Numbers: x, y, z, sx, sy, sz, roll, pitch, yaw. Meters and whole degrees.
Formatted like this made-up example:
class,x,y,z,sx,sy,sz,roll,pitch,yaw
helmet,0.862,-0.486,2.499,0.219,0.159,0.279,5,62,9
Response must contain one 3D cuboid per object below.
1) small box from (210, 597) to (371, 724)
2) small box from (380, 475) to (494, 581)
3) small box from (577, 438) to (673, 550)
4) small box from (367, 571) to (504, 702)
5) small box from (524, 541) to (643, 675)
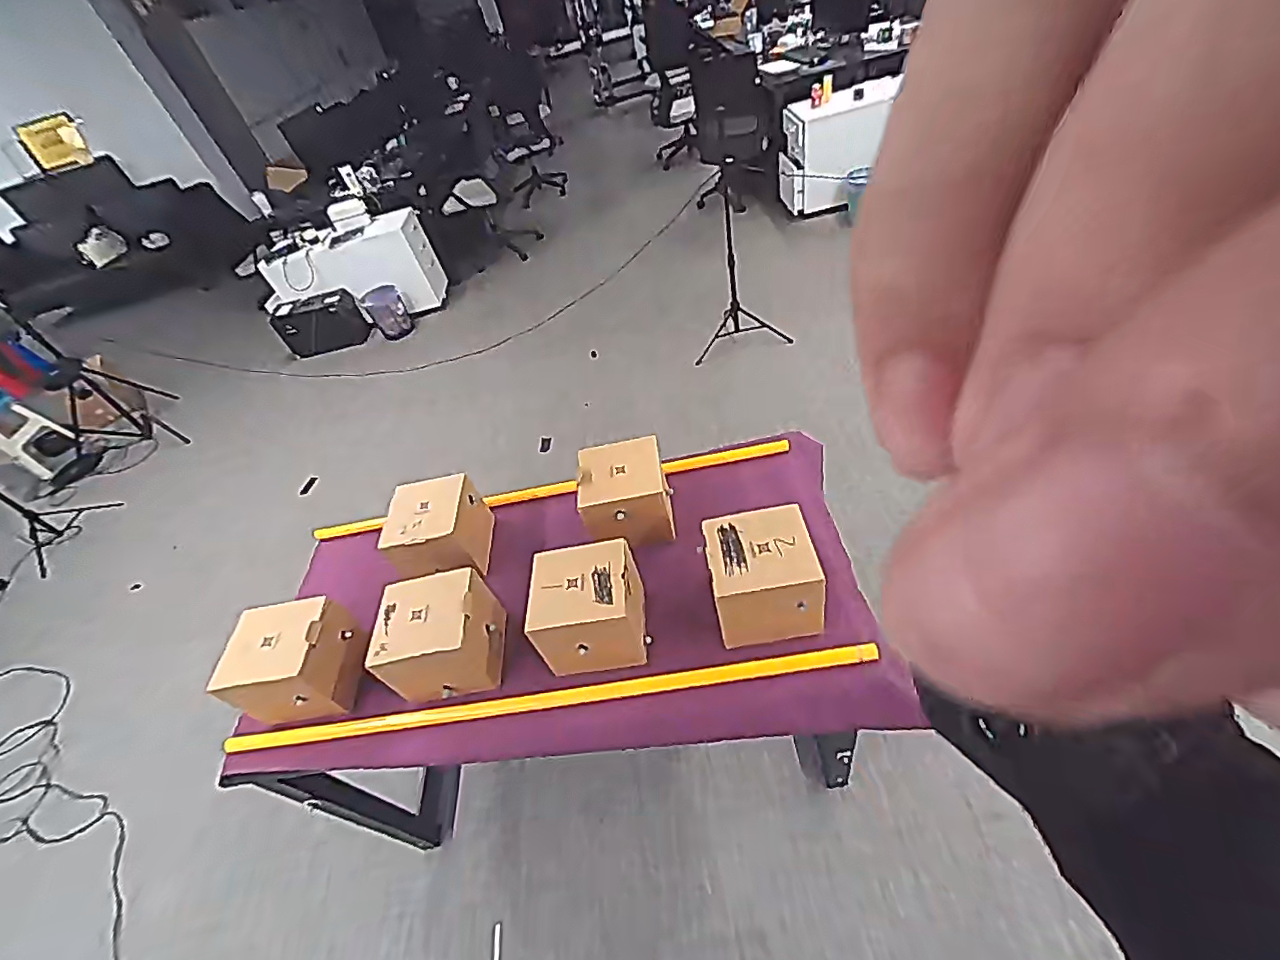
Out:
class,x,y,z,sx,sy,sz,roll,pitch,yaw
small box,-0.658,0.353,1.048,0.179,0.176,0.168,-10,45,4
small box,-0.441,0.119,1.210,0.168,0.176,0.179,-11,47,6
small box,-0.028,0.037,1.167,0.179,0.176,0.168,-12,46,7
small box,-0.370,0.297,1.018,0.179,0.176,0.168,-12,45,5
small box,-0.092,0.238,0.992,0.179,0.176,0.168,-11,44,8
